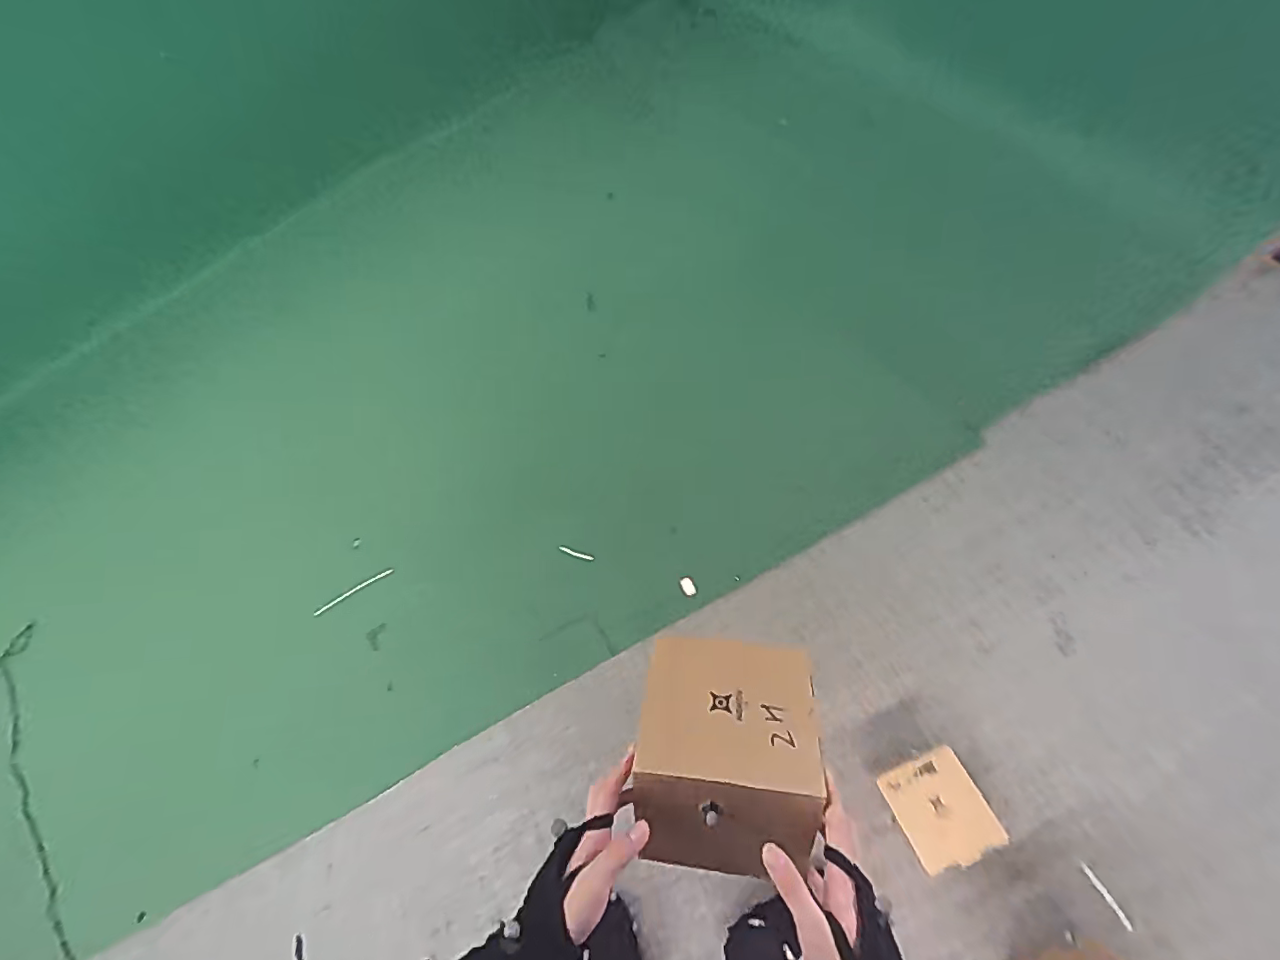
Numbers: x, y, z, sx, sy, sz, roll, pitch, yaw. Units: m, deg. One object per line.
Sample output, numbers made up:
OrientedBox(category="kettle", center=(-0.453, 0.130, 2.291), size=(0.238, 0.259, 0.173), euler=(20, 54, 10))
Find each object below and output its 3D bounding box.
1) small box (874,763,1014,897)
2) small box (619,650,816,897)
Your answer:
OrientedBox(category="small box", center=(0.599, 0.694, 1.094), size=(0.168, 0.176, 0.179), euler=(-28, 59, 3))
OrientedBox(category="small box", center=(0.081, 0.309, 0.579), size=(0.179, 0.176, 0.168), euler=(3, 31, 8))
